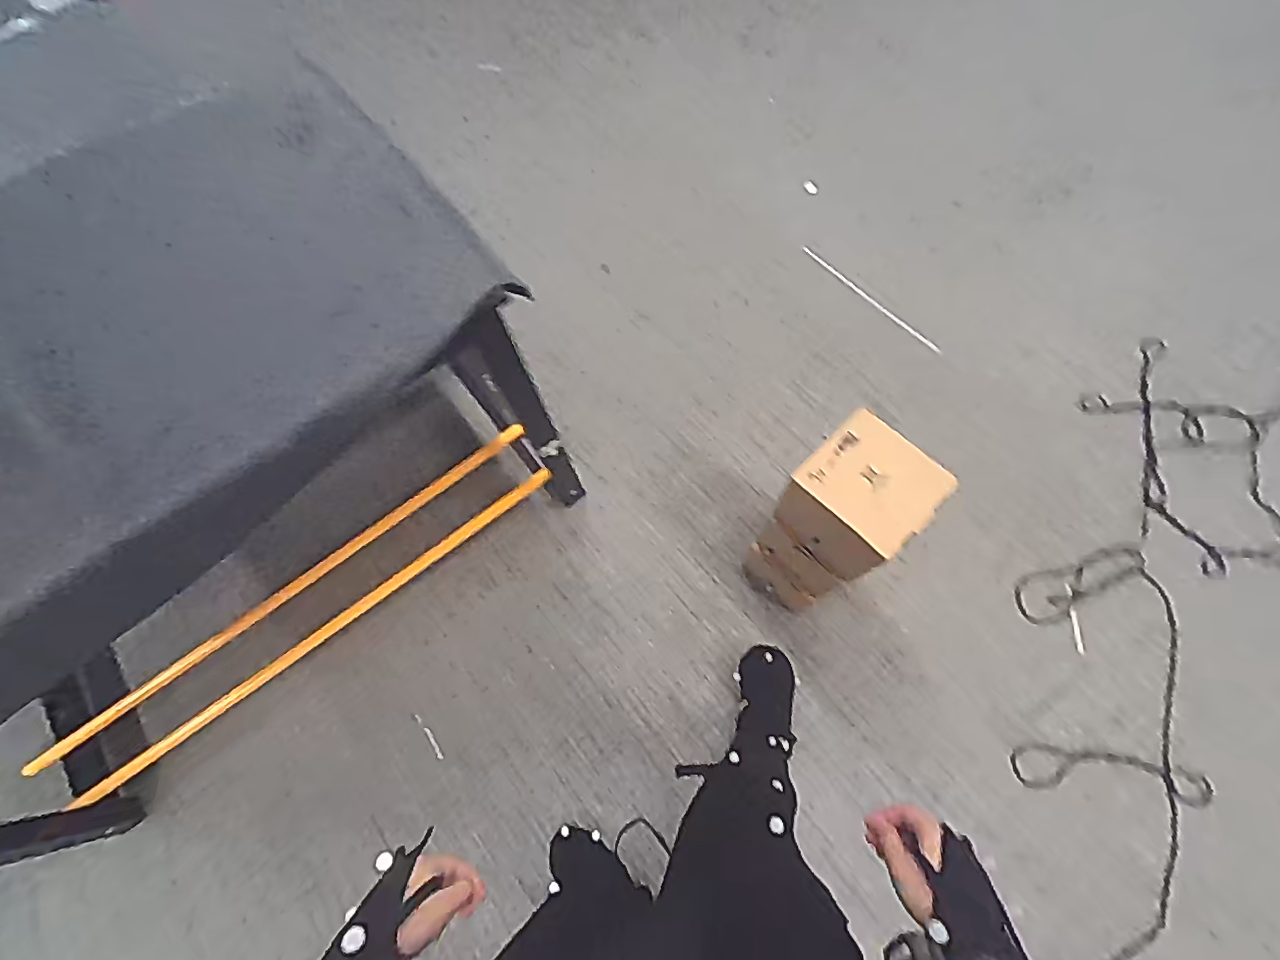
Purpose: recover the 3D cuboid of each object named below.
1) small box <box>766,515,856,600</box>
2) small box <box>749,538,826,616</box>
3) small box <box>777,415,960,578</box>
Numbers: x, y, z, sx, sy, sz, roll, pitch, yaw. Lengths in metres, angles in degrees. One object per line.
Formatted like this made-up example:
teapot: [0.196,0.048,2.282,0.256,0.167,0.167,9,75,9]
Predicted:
small box: [0.351,0.099,1.001,0.179,0.176,0.168,-42,72,-13]
small box: [0.351,0.166,1.152,0.179,0.176,0.168,-43,71,-12]
small box: [0.344,0.036,0.850,0.168,0.176,0.179,-41,73,-12]
